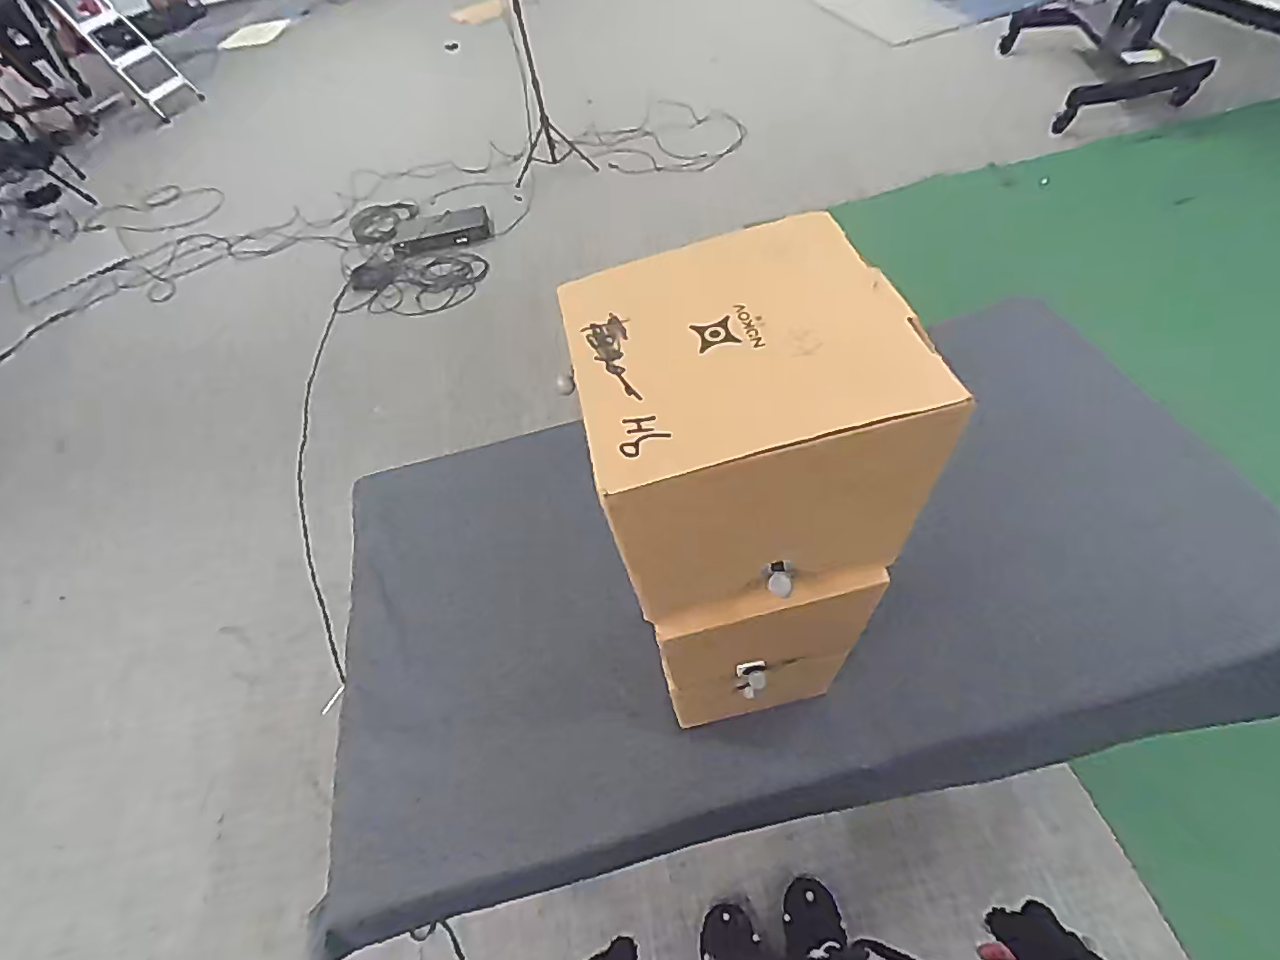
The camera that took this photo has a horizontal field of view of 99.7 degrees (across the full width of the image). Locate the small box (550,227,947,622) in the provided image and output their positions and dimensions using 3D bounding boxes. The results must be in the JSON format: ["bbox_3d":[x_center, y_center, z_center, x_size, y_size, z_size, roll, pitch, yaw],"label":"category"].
[{"bbox_3d":[0.053,-0.027,0.354,0.179,0.176,0.168,-14,54,1],"label":"small box"}]

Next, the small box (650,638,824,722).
[{"bbox_3d":[0.101,0.160,0.616,0.179,0.176,0.168,-13,54,0],"label":"small box"}]

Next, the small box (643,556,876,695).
[{"bbox_3d":[0.079,0.069,0.484,0.168,0.176,0.179,-16,55,1],"label":"small box"}]
